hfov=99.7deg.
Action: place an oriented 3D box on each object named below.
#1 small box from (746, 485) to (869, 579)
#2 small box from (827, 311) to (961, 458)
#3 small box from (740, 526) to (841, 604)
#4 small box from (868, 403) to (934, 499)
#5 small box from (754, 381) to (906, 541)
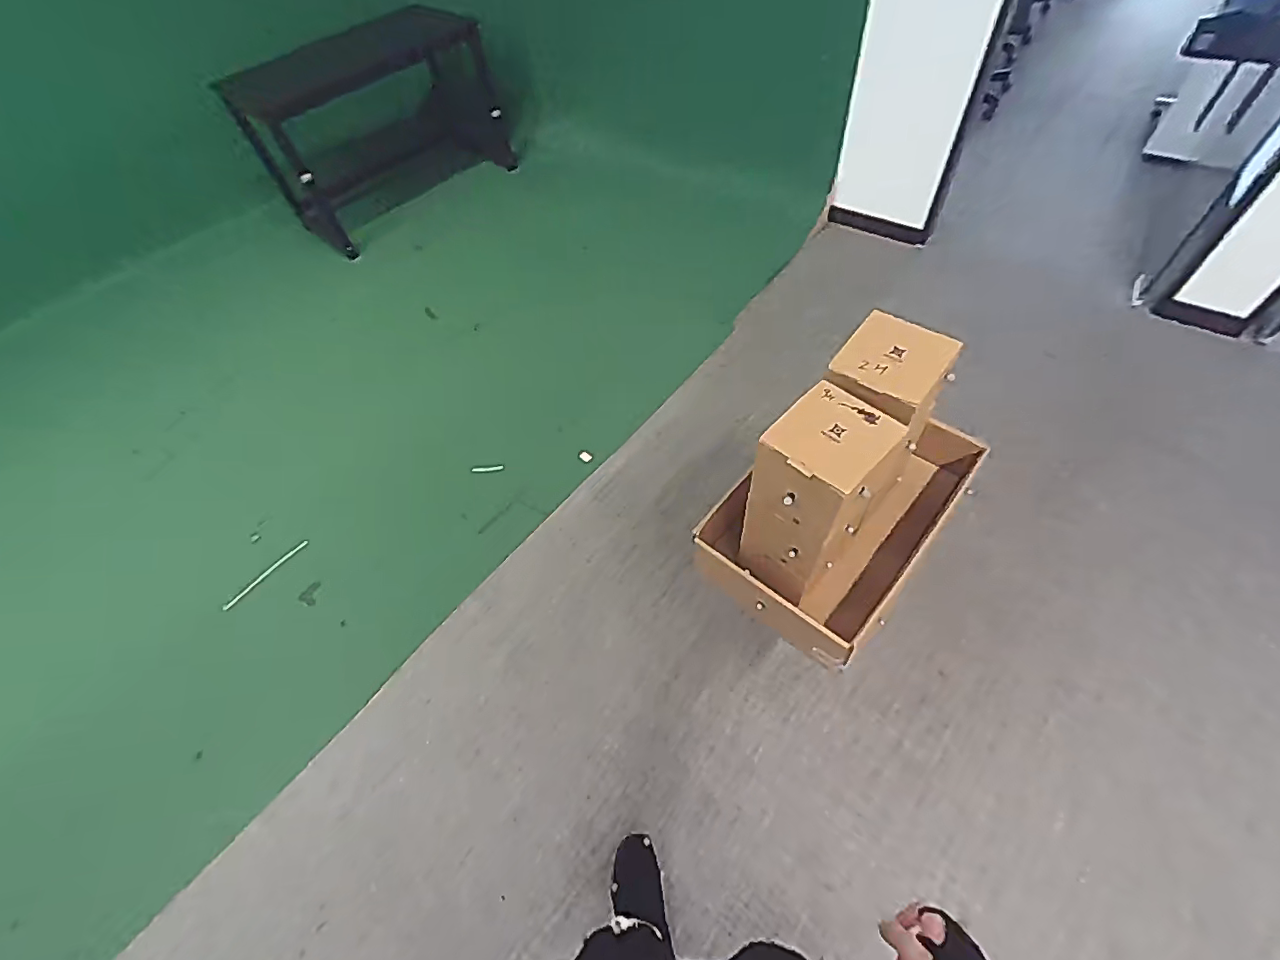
[{"bbox_3d":[0.323,0.063,1.059,0.179,0.176,0.168,-41,62,-21],"label":"small box"},{"bbox_3d":[0.453,-0.174,1.010,0.168,0.176,0.179,33,68,25],"label":"small box"},{"bbox_3d":[0.337,0.144,1.199,0.168,0.176,0.179,36,65,26],"label":"small box"},{"bbox_3d":[0.481,-0.094,1.153,0.168,0.176,0.179,35,69,25],"label":"small box"},{"bbox_3d":[0.311,-0.028,0.923,0.179,0.176,0.168,-40,62,-19],"label":"small box"}]
